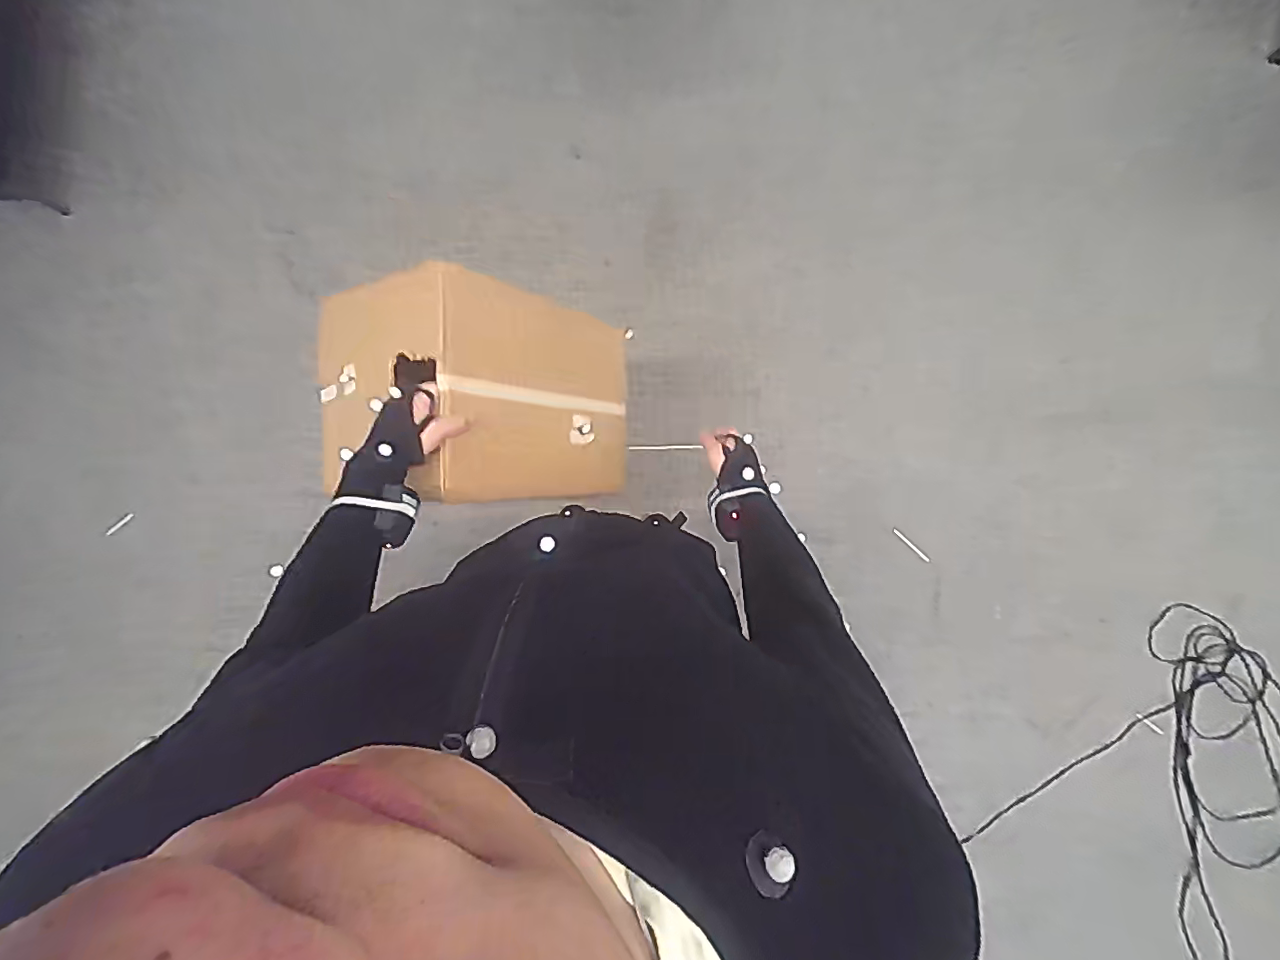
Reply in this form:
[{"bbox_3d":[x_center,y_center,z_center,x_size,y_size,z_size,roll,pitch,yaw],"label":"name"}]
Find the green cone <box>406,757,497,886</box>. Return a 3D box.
[{"bbox_3d":[-0.529,0.922,1.428,0.200,0.368,0.202,5,88,0],"label":"green cone"}]
